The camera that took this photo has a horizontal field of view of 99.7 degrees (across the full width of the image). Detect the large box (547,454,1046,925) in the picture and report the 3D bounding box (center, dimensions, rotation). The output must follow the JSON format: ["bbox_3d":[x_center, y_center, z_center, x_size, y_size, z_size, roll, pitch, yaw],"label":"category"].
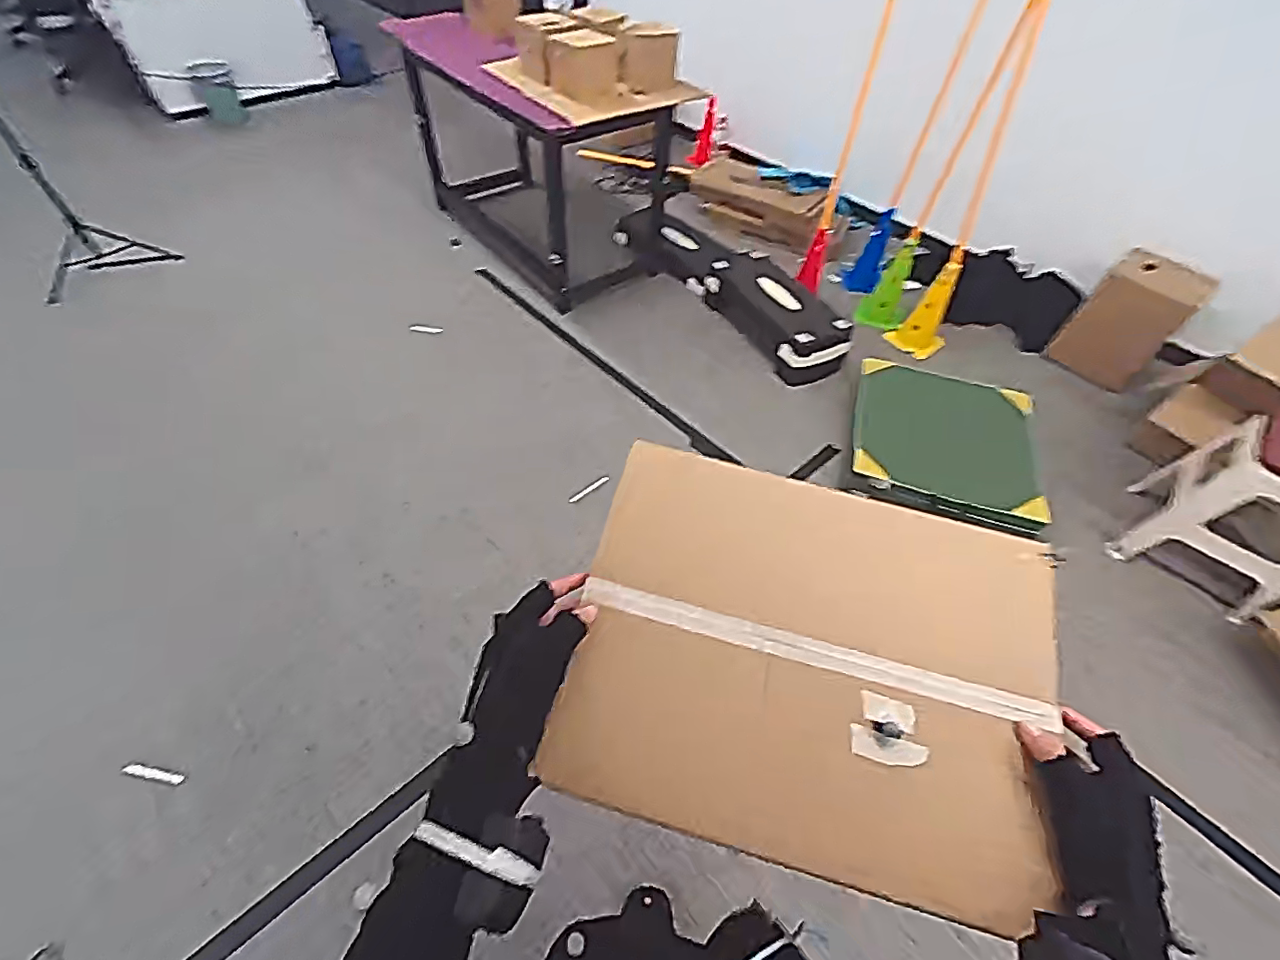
[{"bbox_3d":[0.148,0.214,0.616,0.408,0.320,0.320,15,67,6],"label":"large box"}]
